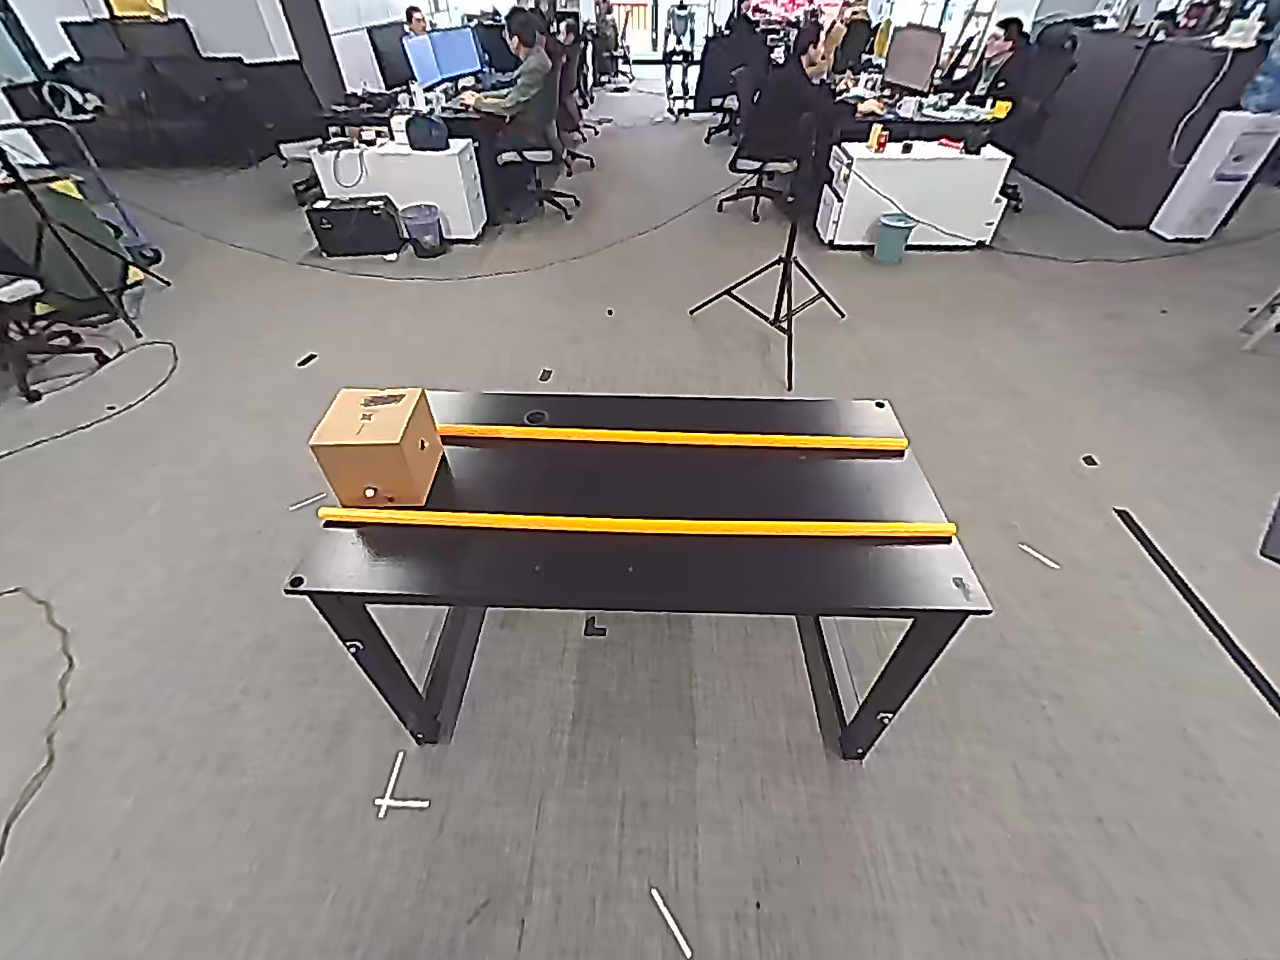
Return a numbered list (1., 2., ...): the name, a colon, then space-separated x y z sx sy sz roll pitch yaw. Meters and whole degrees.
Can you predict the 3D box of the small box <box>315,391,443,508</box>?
1. small box: -0.510 -0.062 1.090 0.168 0.176 0.179 -2 44 -1
